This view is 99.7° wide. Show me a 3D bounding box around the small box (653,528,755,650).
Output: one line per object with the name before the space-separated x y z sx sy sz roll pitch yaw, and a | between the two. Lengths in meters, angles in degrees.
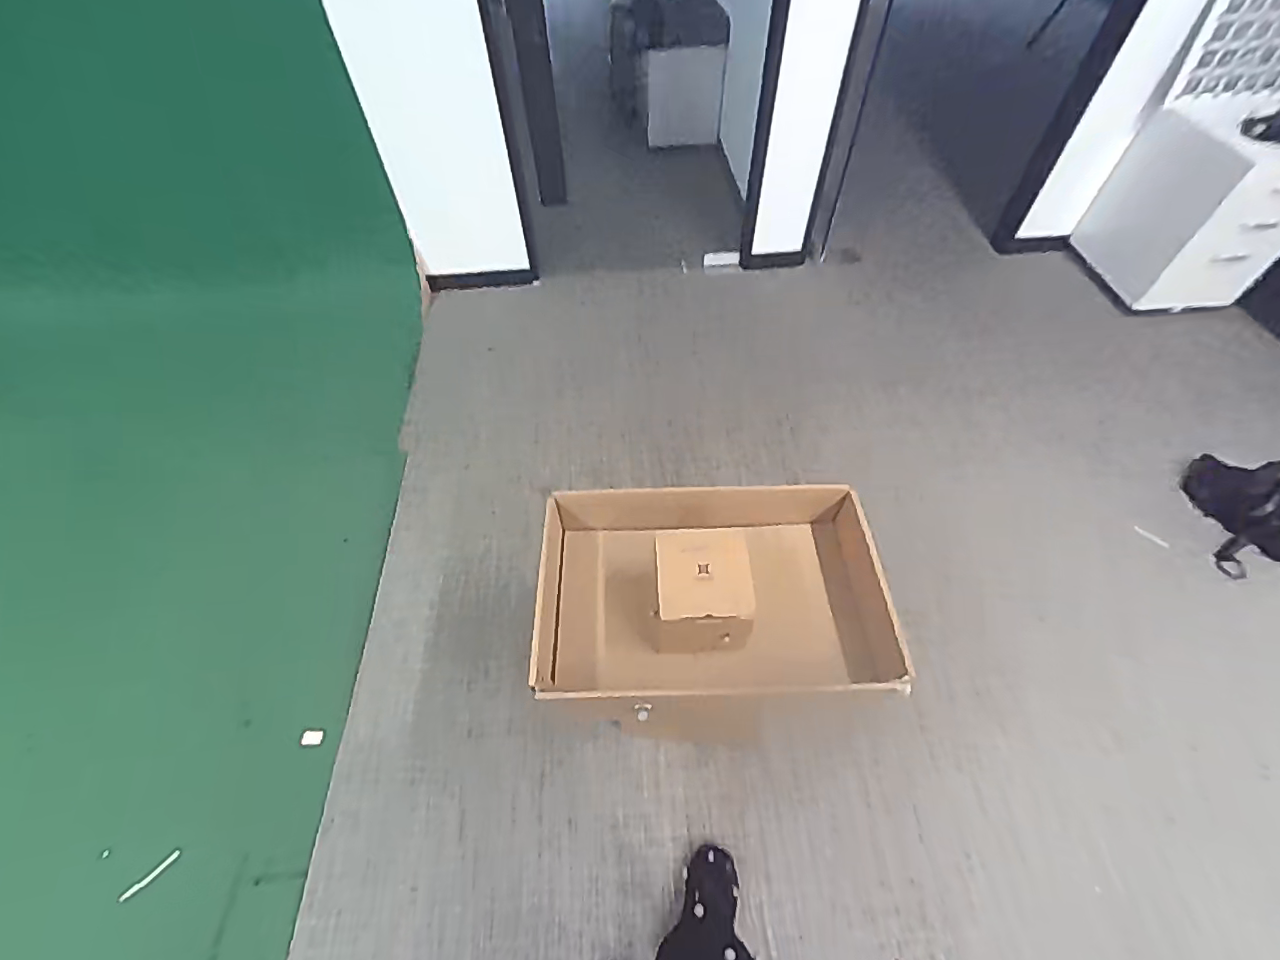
small box | 0.110 0.210 1.012 0.168 0.176 0.179 -1 51 -2
